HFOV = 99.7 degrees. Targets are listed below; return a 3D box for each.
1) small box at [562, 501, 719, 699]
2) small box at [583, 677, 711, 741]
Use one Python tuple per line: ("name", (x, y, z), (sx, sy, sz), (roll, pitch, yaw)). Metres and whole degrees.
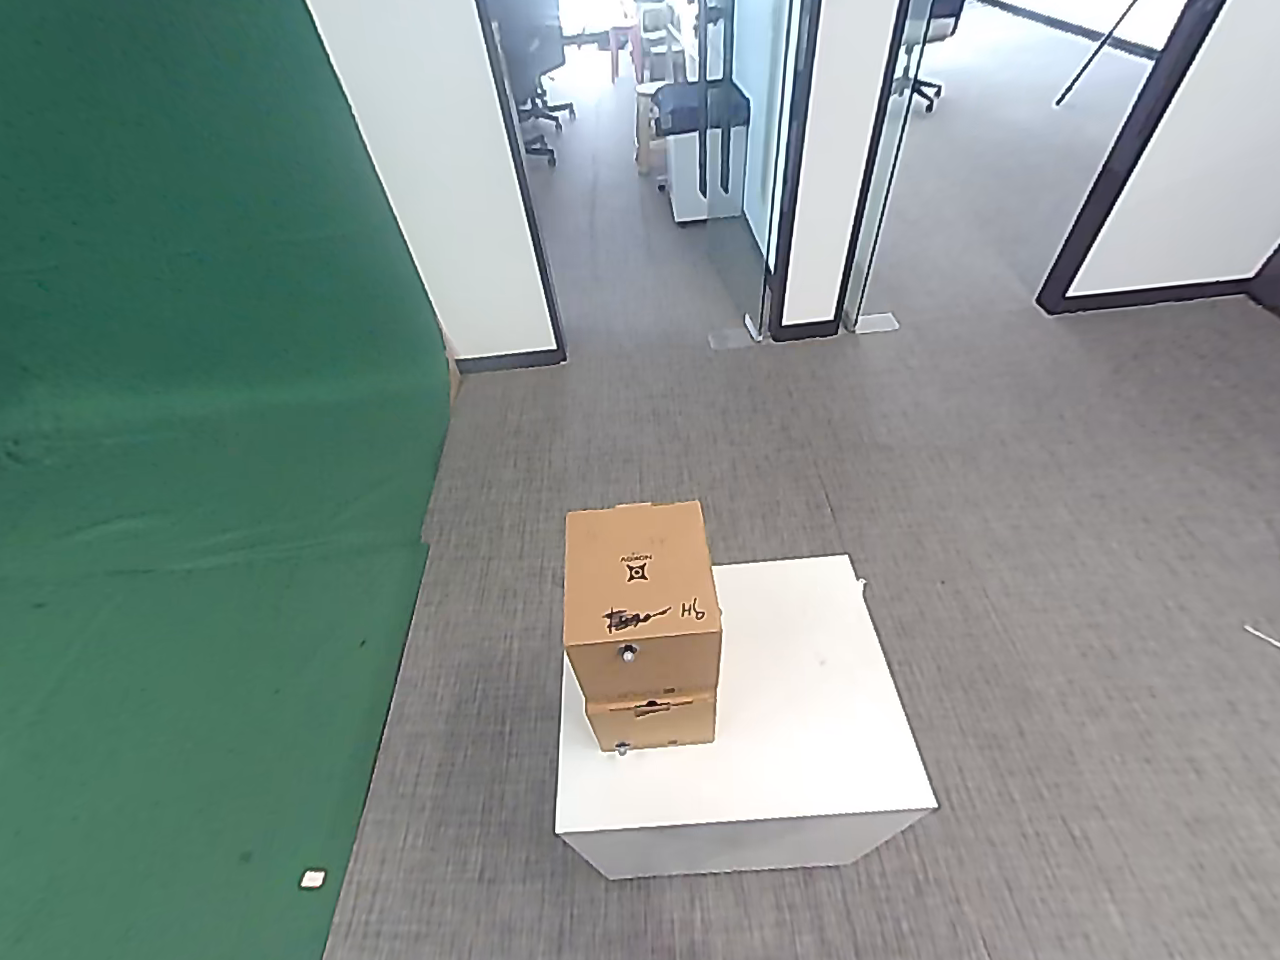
("small box", (0.002, 0.150, 0.673), (0.168, 0.176, 0.179), (-6, 47, 2))
("small box", (0.012, 0.266, 0.788), (0.168, 0.176, 0.179), (-5, 47, 1))
